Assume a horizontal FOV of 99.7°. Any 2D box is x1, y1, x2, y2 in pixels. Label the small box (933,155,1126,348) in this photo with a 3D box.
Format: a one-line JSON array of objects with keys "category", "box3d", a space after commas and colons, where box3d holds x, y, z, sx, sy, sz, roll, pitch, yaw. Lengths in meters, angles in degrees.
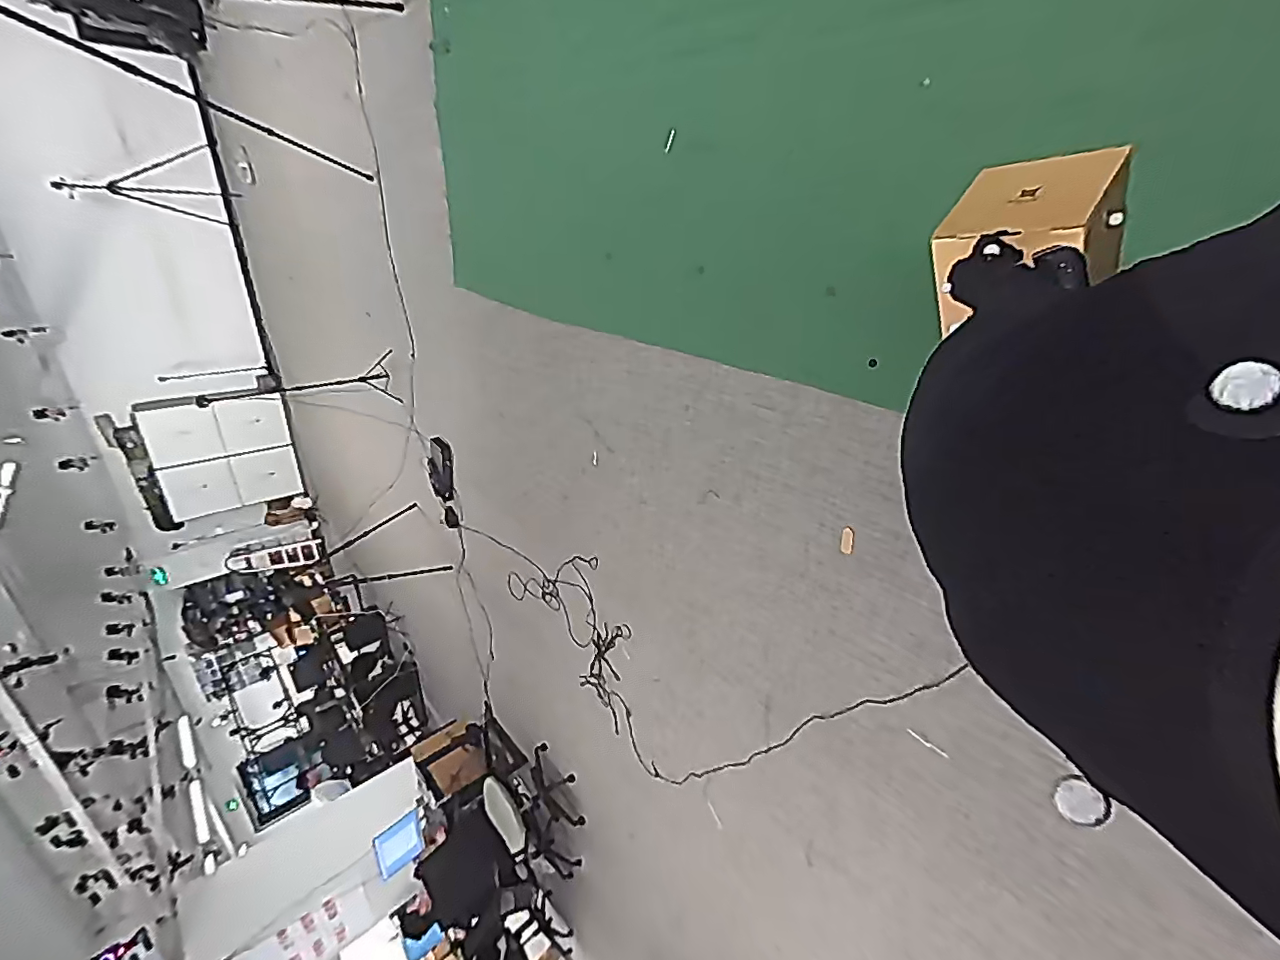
[{"category": "small box", "box3d": [0.532, -0.308, 0.748, 0.168, 0.179, 0.176, 19, 152, 46]}]
